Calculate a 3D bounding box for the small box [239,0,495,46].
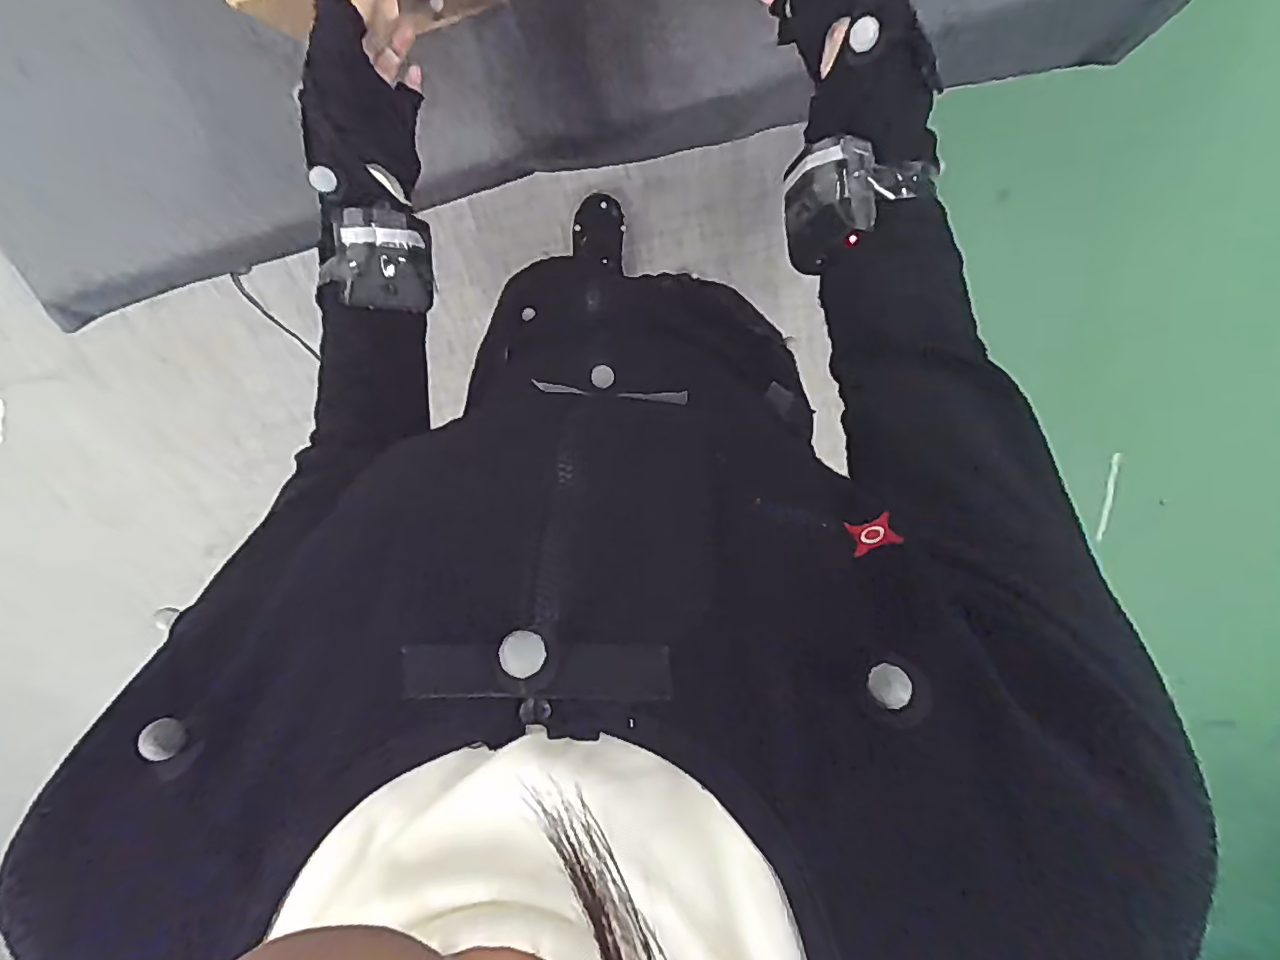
[{"bbox_3d":[-0.213,-0.442,0.380,0.168,0.176,0.179,-16,116,4],"label":"small box"}]
